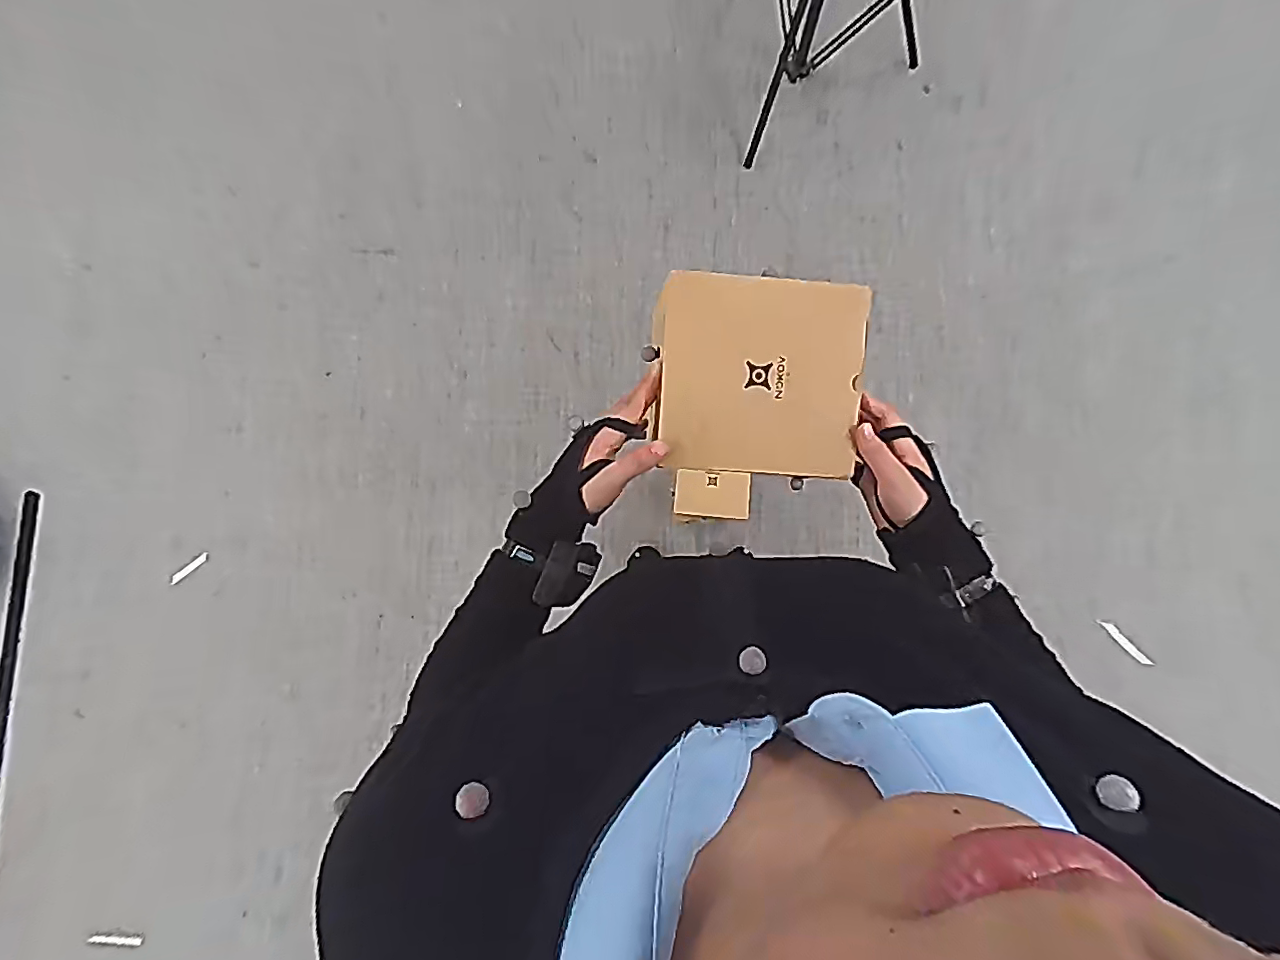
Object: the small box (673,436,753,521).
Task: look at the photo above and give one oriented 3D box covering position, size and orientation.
[{"bbox_3d":[0.168,0.003,1.279,0.168,0.176,0.179,5,84,3],"label":"small box"}]
